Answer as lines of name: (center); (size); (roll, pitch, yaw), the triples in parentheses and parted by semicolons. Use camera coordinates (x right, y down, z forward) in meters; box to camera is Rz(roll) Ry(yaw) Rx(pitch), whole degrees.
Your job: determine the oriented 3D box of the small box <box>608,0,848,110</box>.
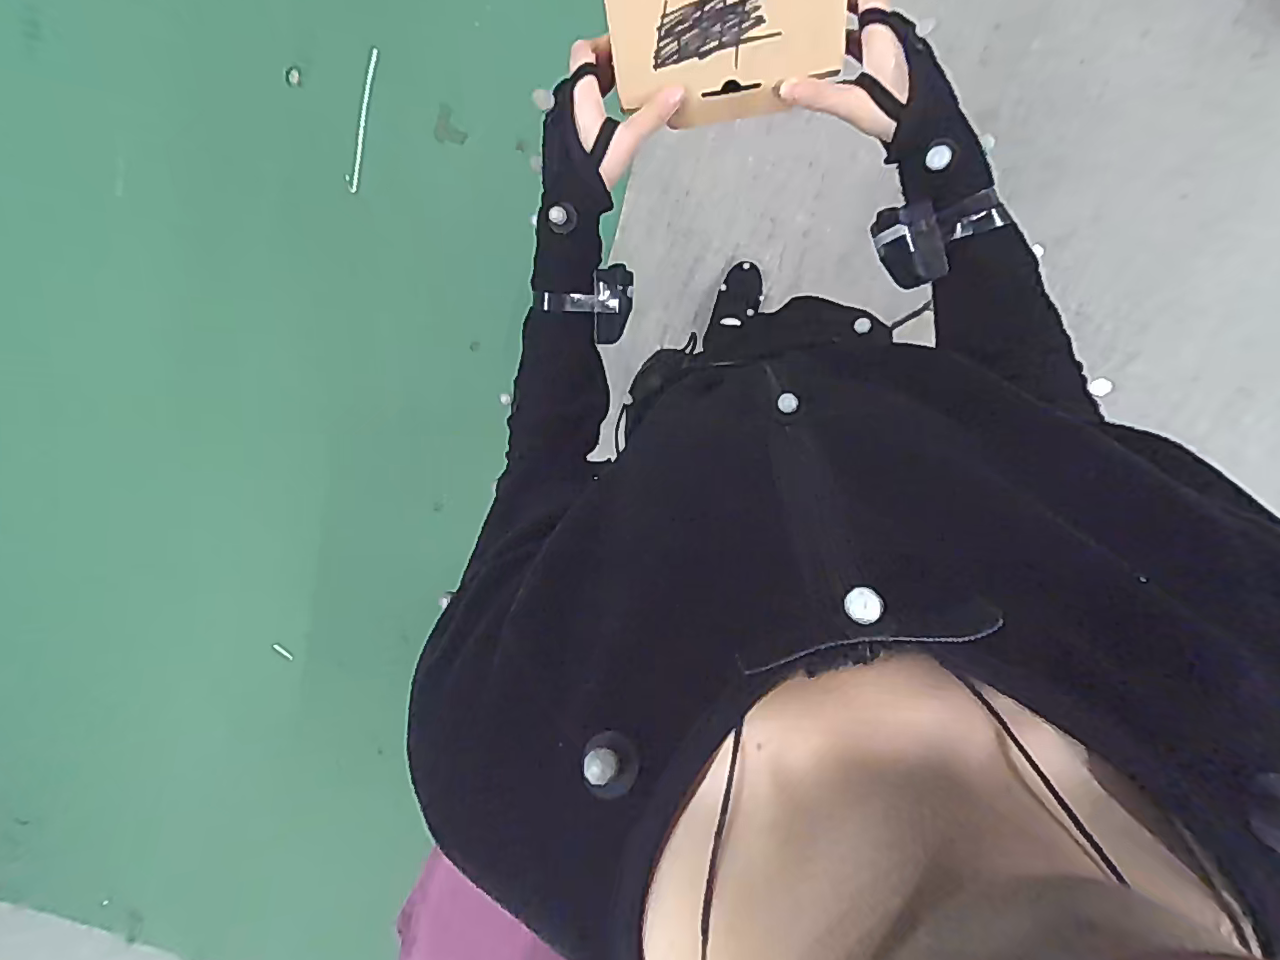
small box: (0.056, -0.402, 0.417); (0.168, 0.176, 0.179); (-7, 122, 4)
